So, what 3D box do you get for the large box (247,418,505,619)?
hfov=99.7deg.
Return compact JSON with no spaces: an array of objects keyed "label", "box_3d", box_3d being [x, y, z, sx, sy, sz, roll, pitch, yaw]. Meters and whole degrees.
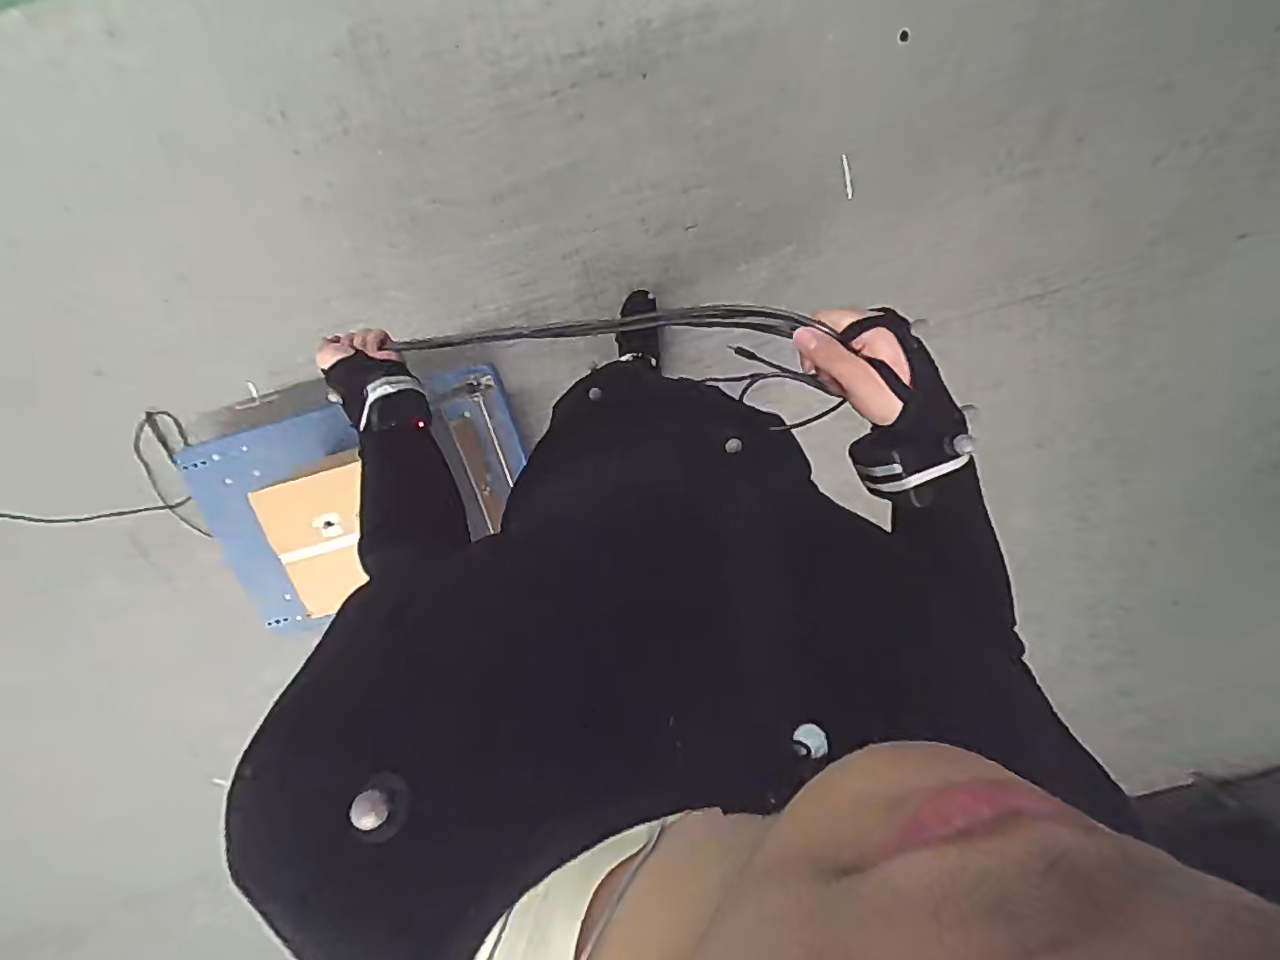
[{"label":"large box","box_3d":[-0.588,0.074,1.290,0.408,0.320,0.320,-15,106,3]}]
